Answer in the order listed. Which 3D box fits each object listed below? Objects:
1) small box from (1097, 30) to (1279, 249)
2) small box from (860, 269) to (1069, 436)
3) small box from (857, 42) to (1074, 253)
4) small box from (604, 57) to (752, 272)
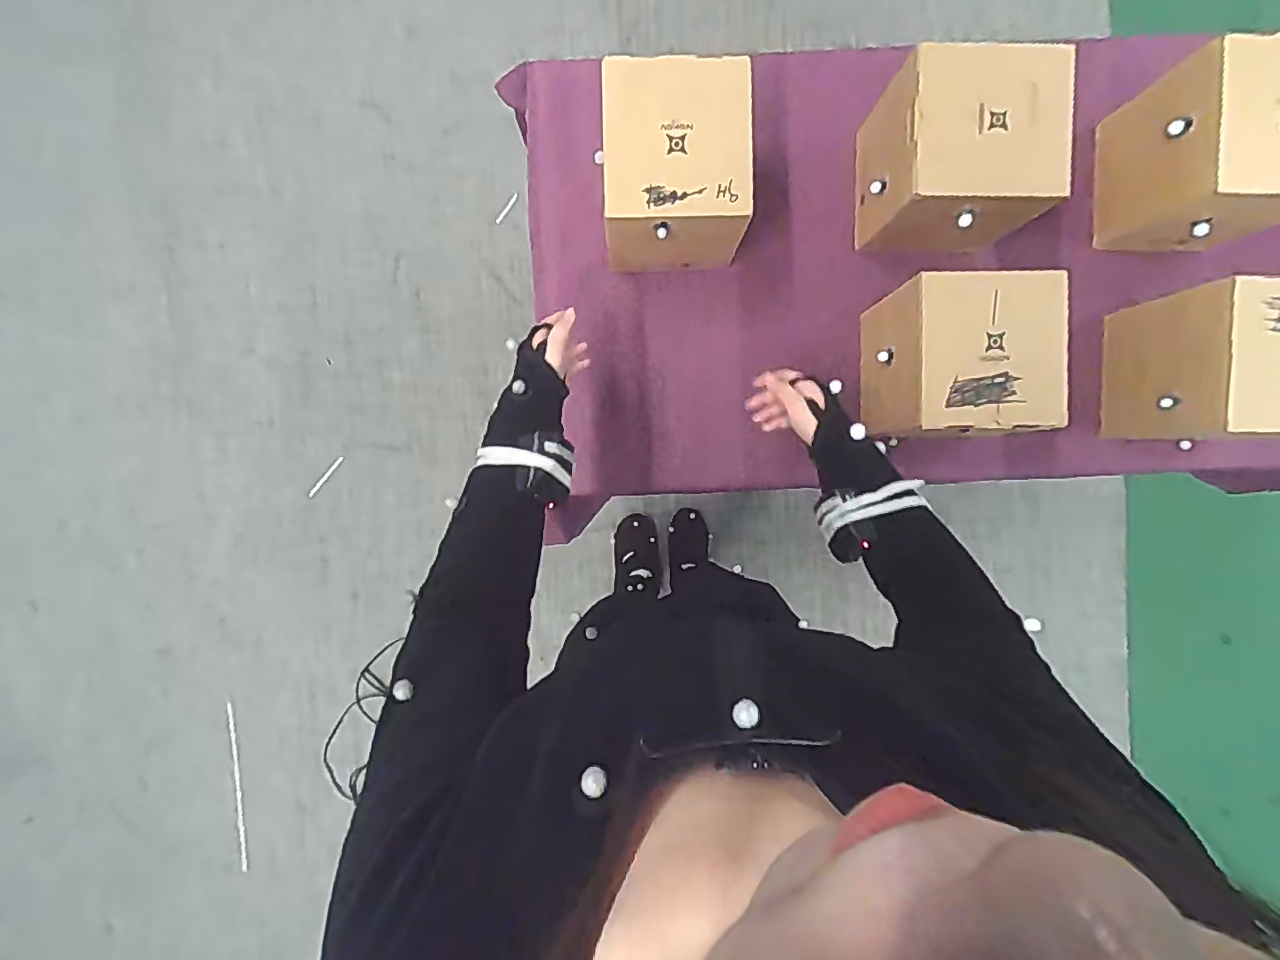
[{"bbox_3d":[0.713,-0.401,0.667,0.168,0.176,0.179,1,91,1],"label":"small box"},{"bbox_3d":[0.388,-0.146,0.674,0.168,0.176,0.179,0,90,0],"label":"small box"},{"bbox_3d":[0.385,-0.395,0.671,0.179,0.176,0.168,1,92,0],"label":"small box"},{"bbox_3d":[0.040,-0.377,0.672,0.168,0.176,0.179,-1,91,0],"label":"small box"}]
